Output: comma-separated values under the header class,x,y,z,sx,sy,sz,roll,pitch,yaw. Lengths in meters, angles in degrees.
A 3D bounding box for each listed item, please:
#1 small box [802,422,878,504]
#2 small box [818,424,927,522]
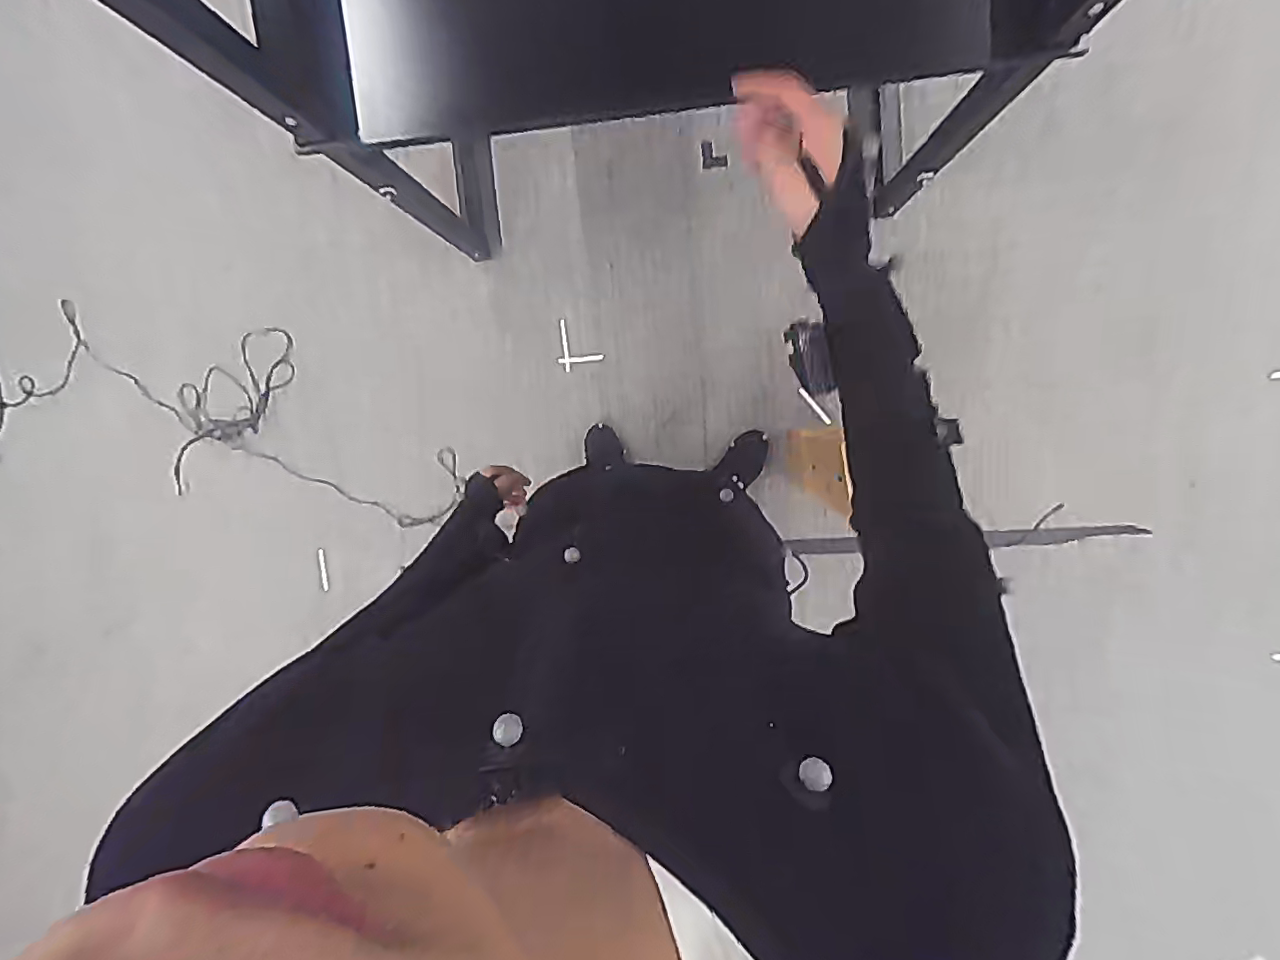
class,x,y,z,sx,sy,sz,roll,pitch,yaw
small box,0.516,-0.048,1.339,0.179,0.176,0.168,-9,97,6
small box,0.499,-0.021,1.179,0.168,0.176,0.179,-10,97,6
